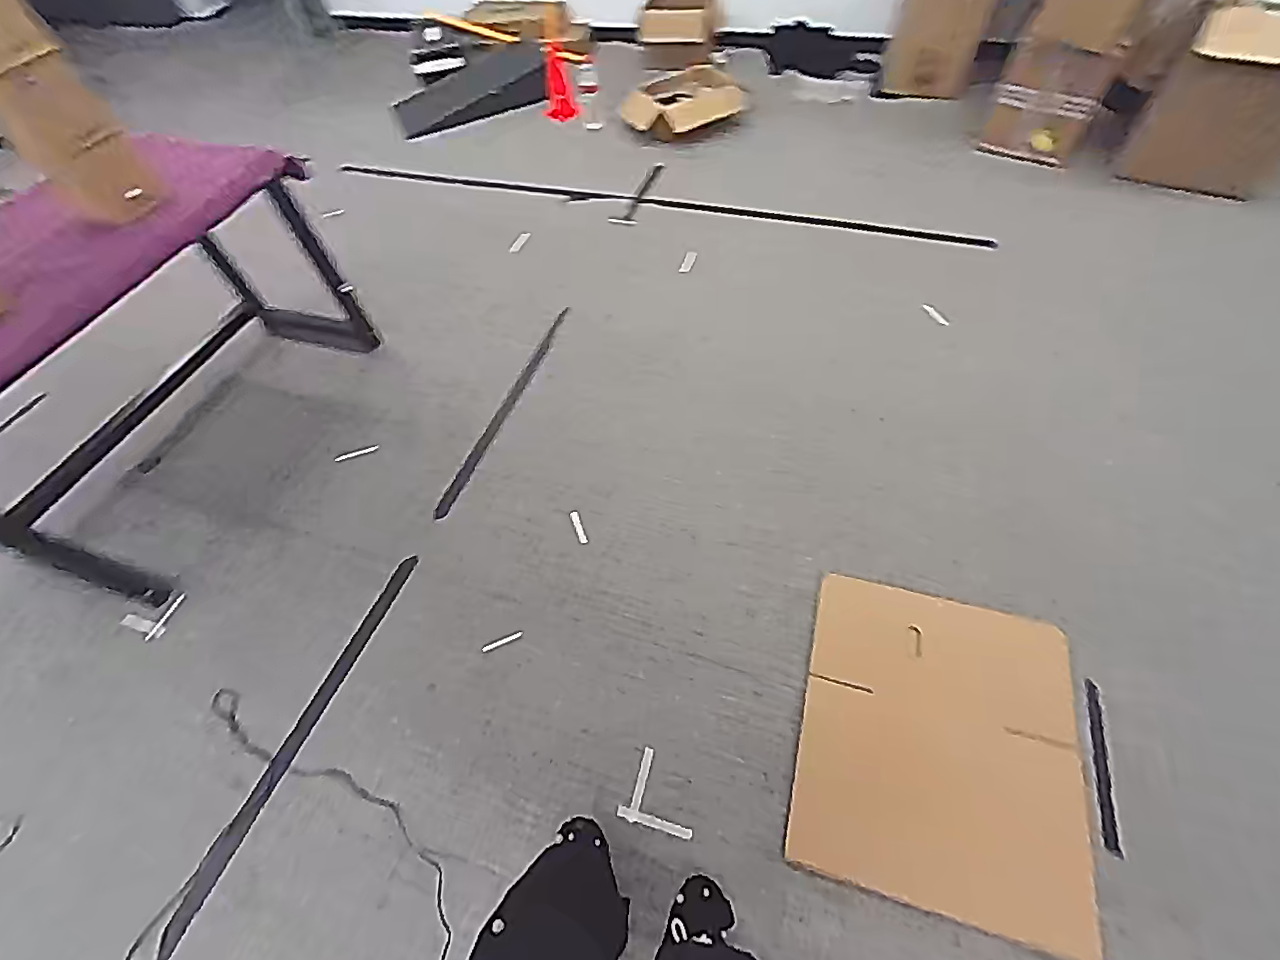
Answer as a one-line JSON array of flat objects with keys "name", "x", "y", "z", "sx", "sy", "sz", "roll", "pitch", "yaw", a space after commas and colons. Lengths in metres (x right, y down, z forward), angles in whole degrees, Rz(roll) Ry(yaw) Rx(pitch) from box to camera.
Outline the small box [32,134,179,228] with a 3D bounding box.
[{"name": "small box", "x": -1.383, "y": -0.785, "z": 1.411, "sx": 0.179, "sy": 0.176, "sz": 0.168, "roll": 17, "pitch": 60, "yaw": 15}]

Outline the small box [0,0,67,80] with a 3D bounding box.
[{"name": "small box", "x": -1.395, "y": -0.964, "z": 1.137, "sx": 0.179, "sy": 0.176, "sz": 0.168, "roll": 18, "pitch": 60, "yaw": 17}]

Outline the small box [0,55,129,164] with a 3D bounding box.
[{"name": "small box", "x": -1.390, "y": -0.875, "z": 1.274, "sx": 0.179, "sy": 0.176, "sz": 0.168, "roll": 18, "pitch": 60, "yaw": 17}]
